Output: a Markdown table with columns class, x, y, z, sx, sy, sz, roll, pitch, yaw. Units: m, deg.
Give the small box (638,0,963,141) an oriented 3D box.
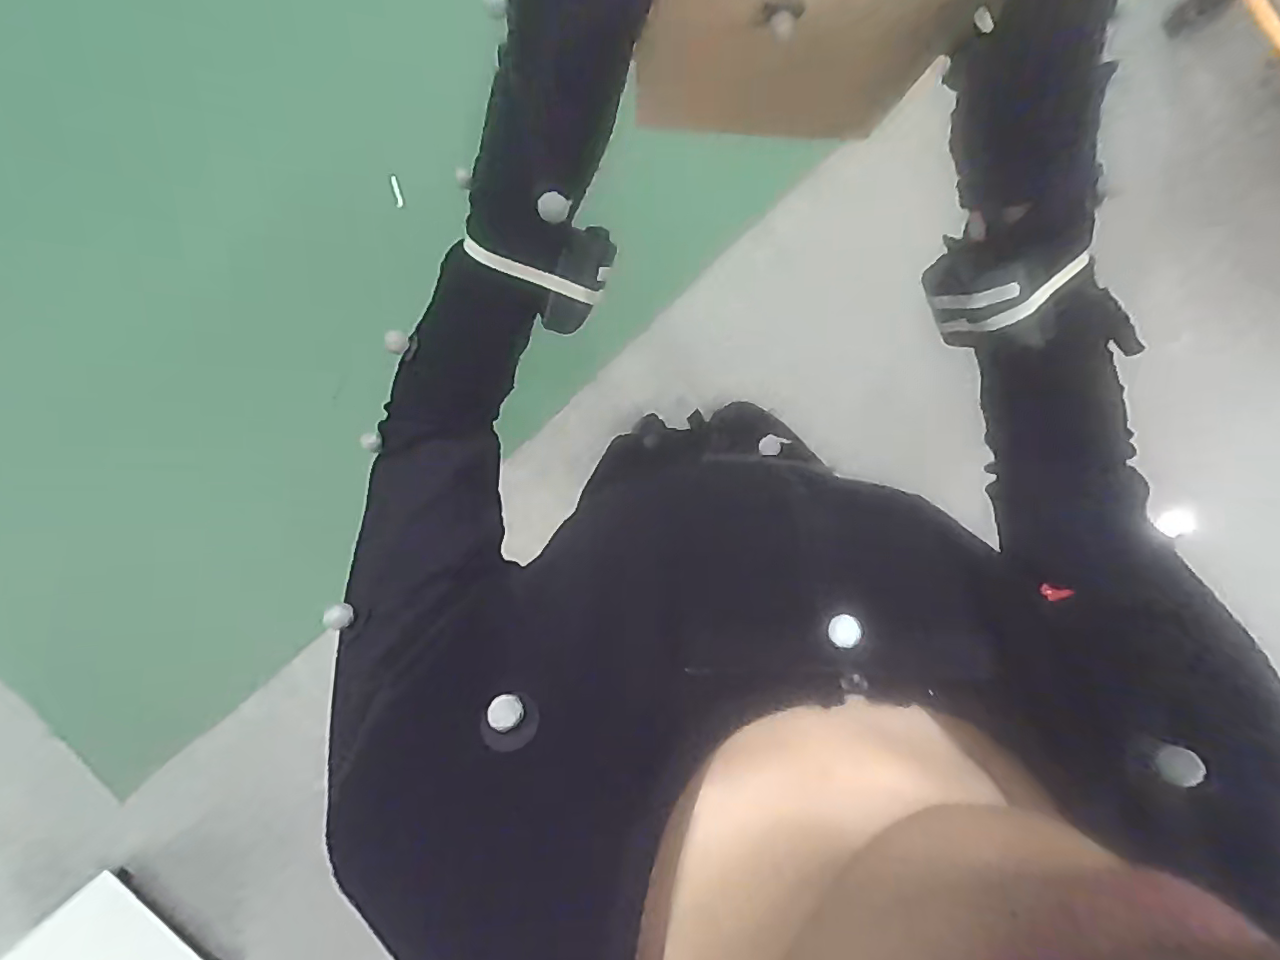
| class | x | y | z | sx | sy | sz | roll | pitch | yaw |
| --- | --- | --- | --- | --- | --- | --- | --- | --- | --- |
| small box | 0.090 | -0.328 | 0.317 | 0.179 | 0.176 | 0.168 | 3 | 97 | -1 |
